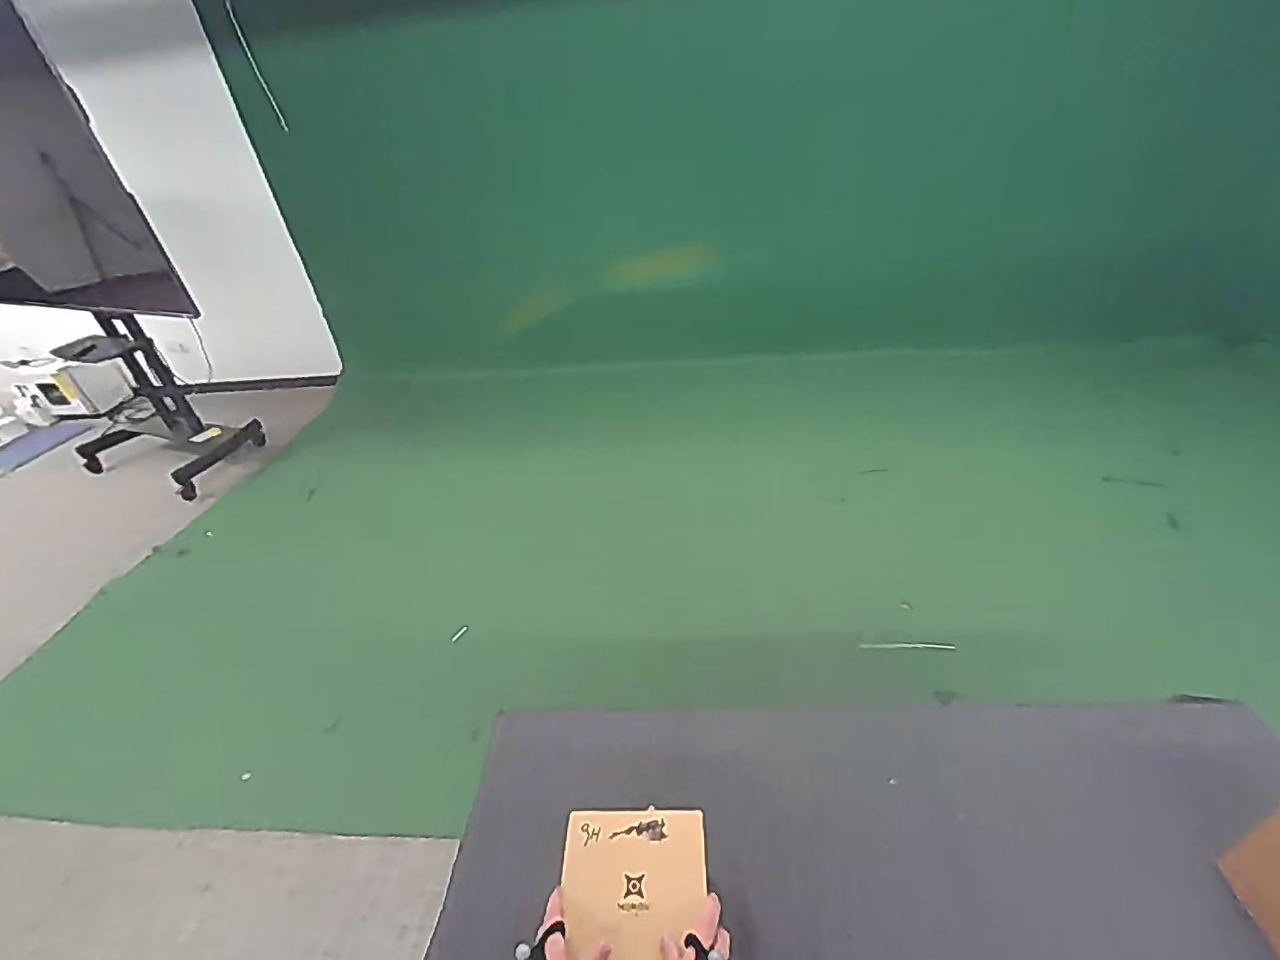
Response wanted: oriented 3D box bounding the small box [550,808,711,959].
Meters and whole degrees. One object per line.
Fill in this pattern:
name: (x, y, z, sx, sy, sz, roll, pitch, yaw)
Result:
small box: (-0.002, 0.516, 0.635, 0.168, 0.176, 0.179, -3, 35, 4)
